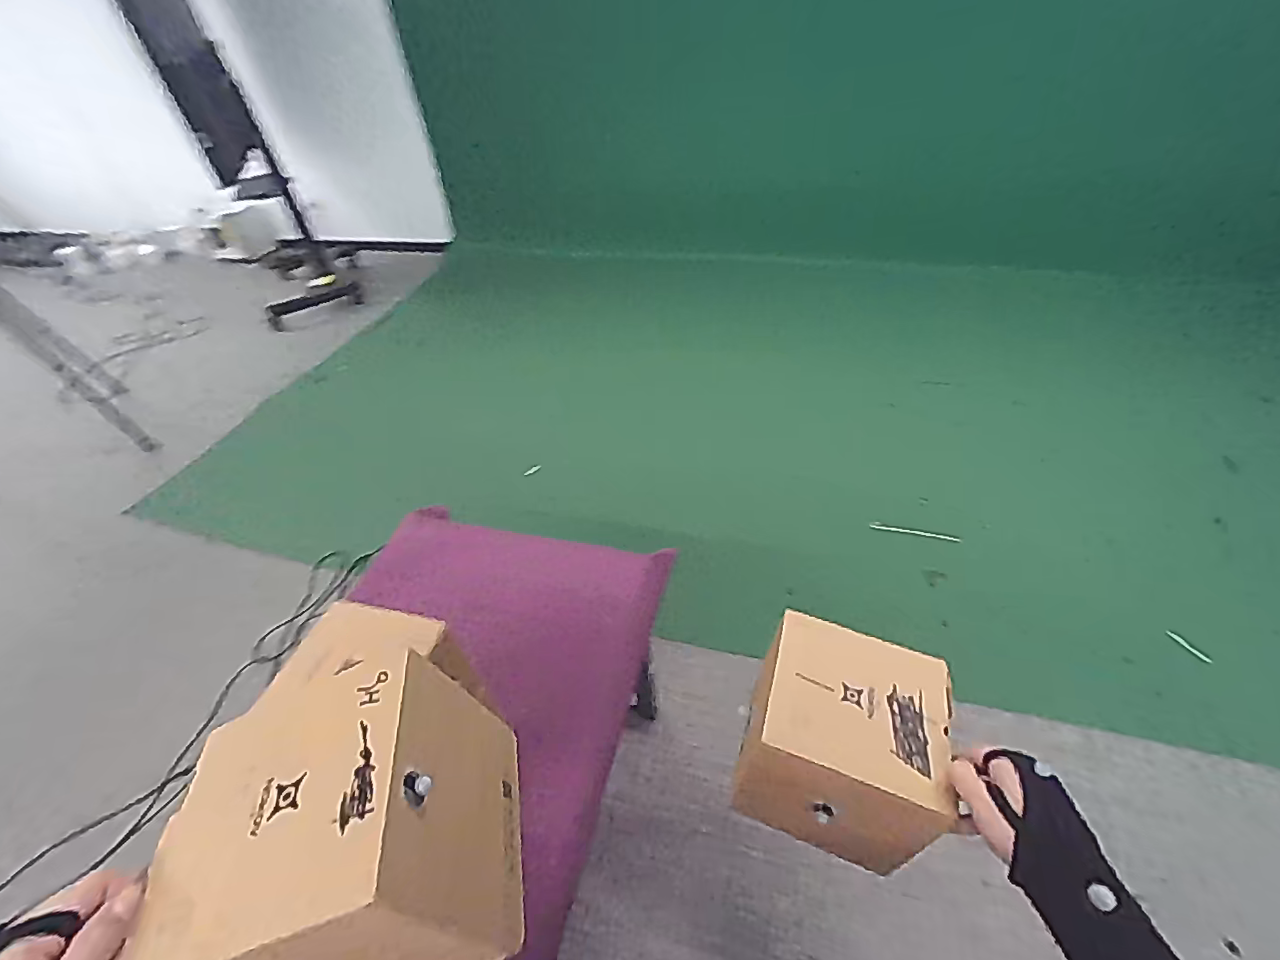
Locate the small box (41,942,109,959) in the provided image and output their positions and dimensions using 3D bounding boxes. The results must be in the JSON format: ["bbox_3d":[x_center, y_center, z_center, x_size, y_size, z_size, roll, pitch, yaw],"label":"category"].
[{"bbox_3d":[-0.444,0.527,0.451,0.179,0.176,0.168,8,44,12],"label":"small box"}]

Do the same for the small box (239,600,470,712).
[{"bbox_3d":[-0.348,0.283,0.697,0.179,0.176,0.168,7,44,14],"label":"small box"}]

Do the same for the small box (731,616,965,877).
[{"bbox_3d":[0.214,0.285,0.577,0.179,0.176,0.168,19,41,14],"label":"small box"}]

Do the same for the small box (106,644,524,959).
[{"bbox_3d":[-0.203,0.258,0.394,0.179,0.176,0.168,-22,38,4],"label":"small box"}]
